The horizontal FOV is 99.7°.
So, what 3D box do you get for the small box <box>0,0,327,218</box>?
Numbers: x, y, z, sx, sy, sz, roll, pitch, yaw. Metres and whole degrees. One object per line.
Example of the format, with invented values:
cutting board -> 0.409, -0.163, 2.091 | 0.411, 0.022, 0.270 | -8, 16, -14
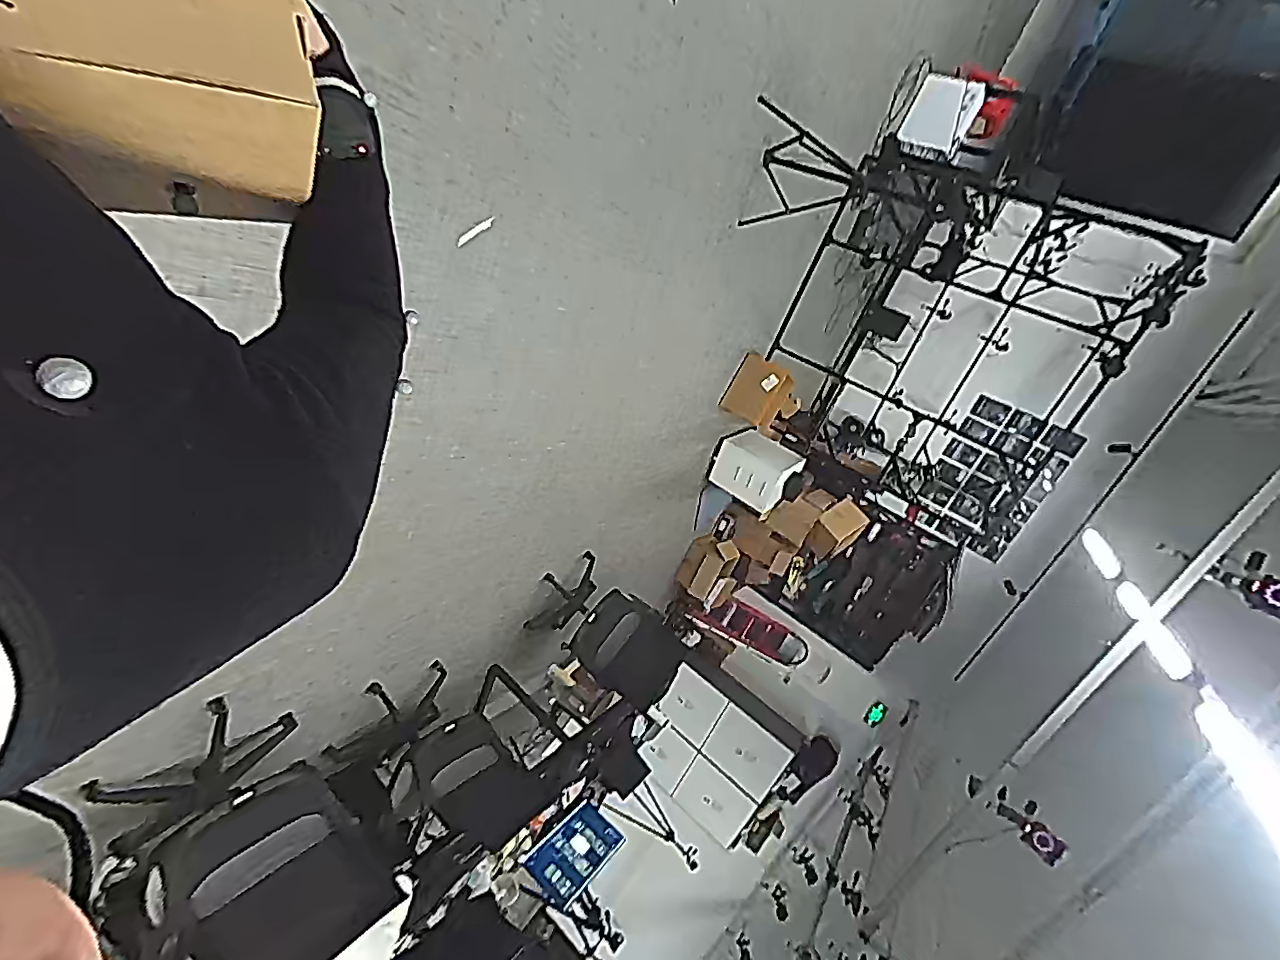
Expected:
small box -> -0.347, -0.310, 0.388 | 0.179, 0.176, 0.168 | -14, 93, -34
